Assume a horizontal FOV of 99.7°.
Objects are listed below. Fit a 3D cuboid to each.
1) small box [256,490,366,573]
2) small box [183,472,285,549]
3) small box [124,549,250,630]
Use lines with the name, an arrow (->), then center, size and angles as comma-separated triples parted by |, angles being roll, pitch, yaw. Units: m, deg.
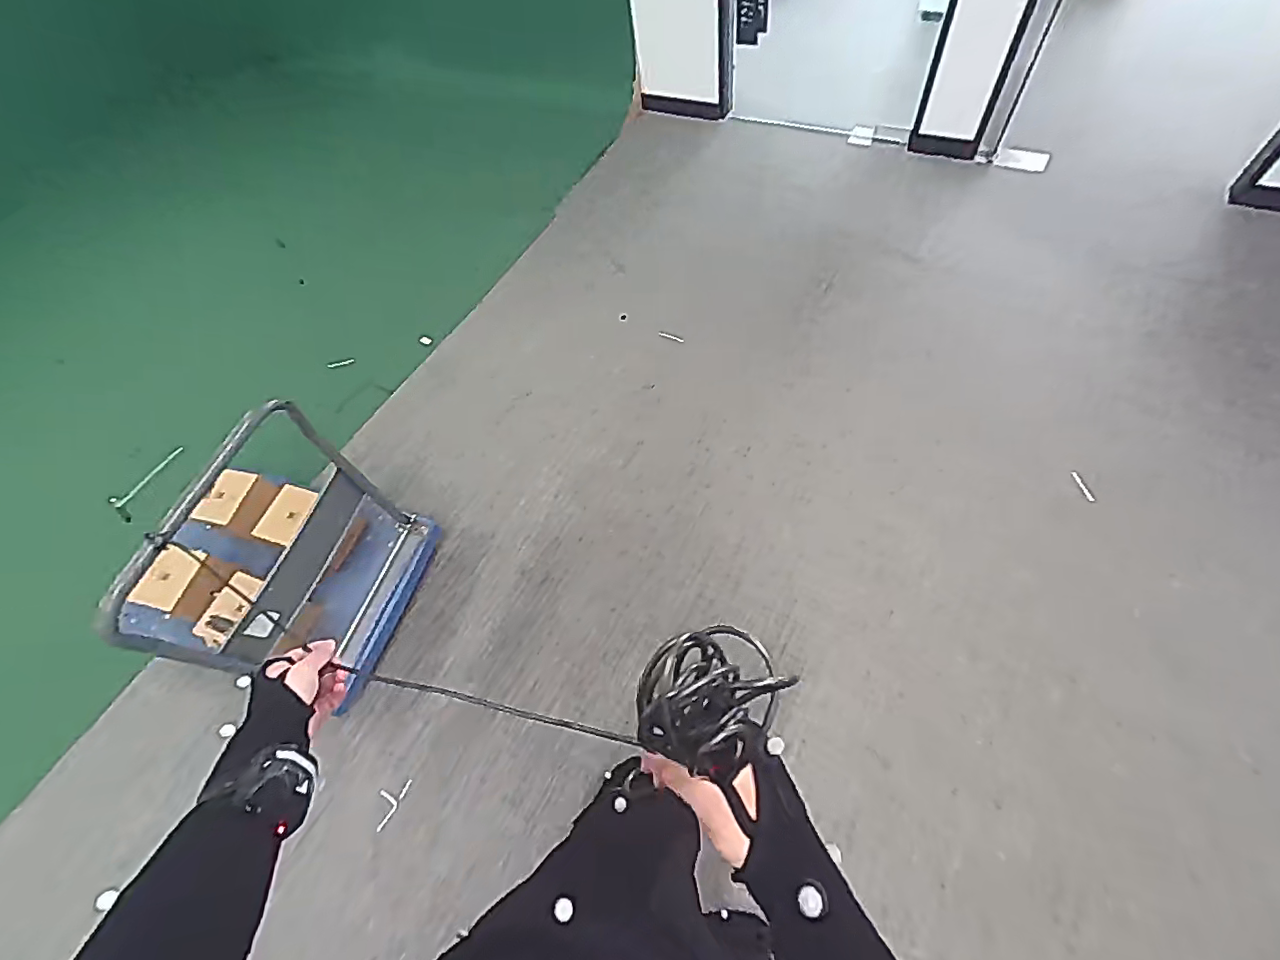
small box -> -0.948, 0.154, 1.573 | 0.179, 0.176, 0.168 | 13, 63, 14
small box -> -1.204, 0.097, 1.640 | 0.179, 0.176, 0.168 | 9, 63, 12
small box -> -1.263, 0.314, 1.525 | 0.179, 0.176, 0.168 | 9, 61, 13
